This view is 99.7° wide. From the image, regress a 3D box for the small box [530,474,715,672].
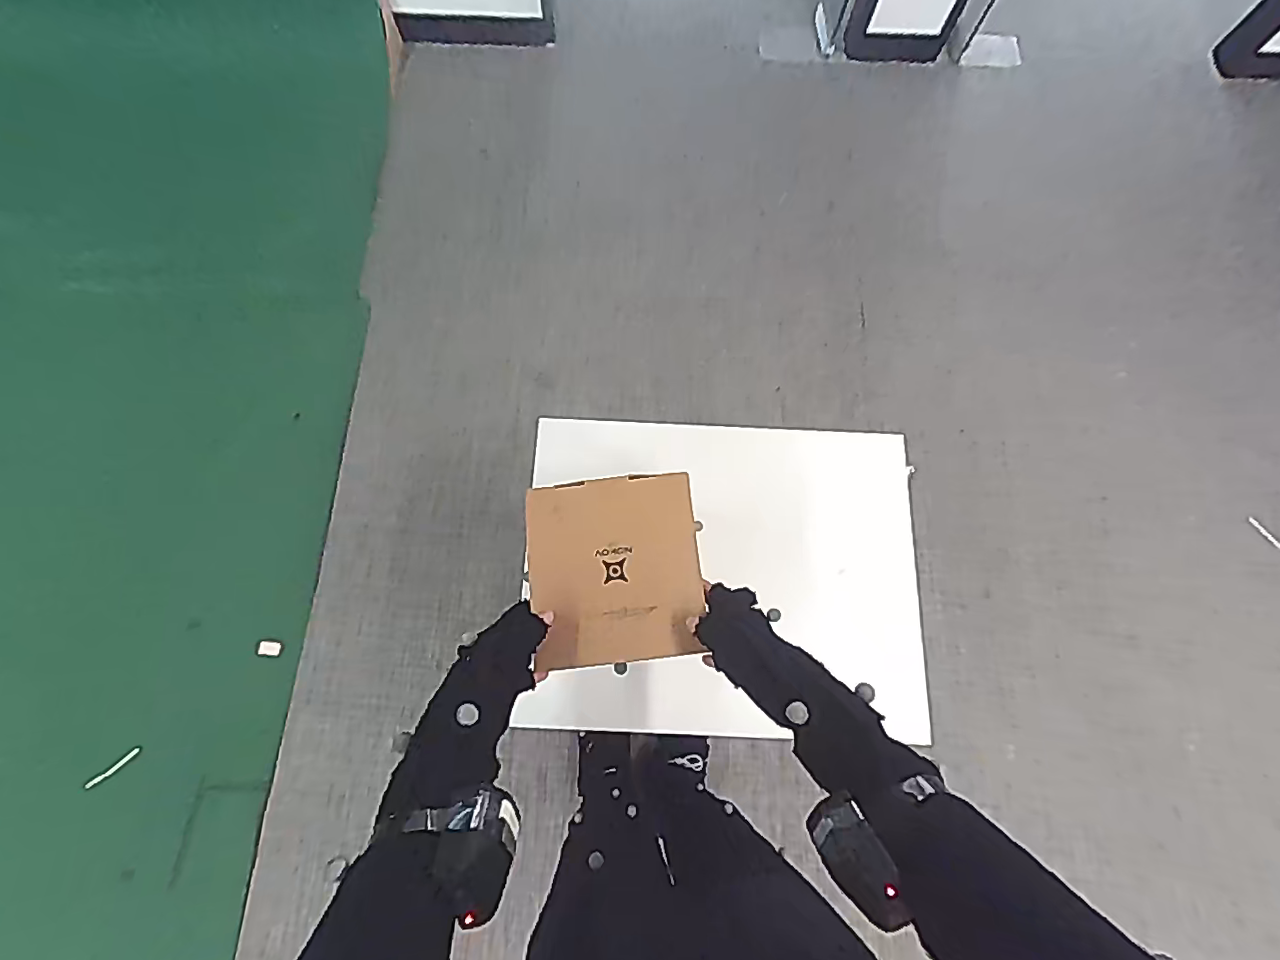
[{"bbox_3d":[-0.018,0.107,0.599,0.168,0.176,0.179,-8,75,1],"label":"small box"}]
